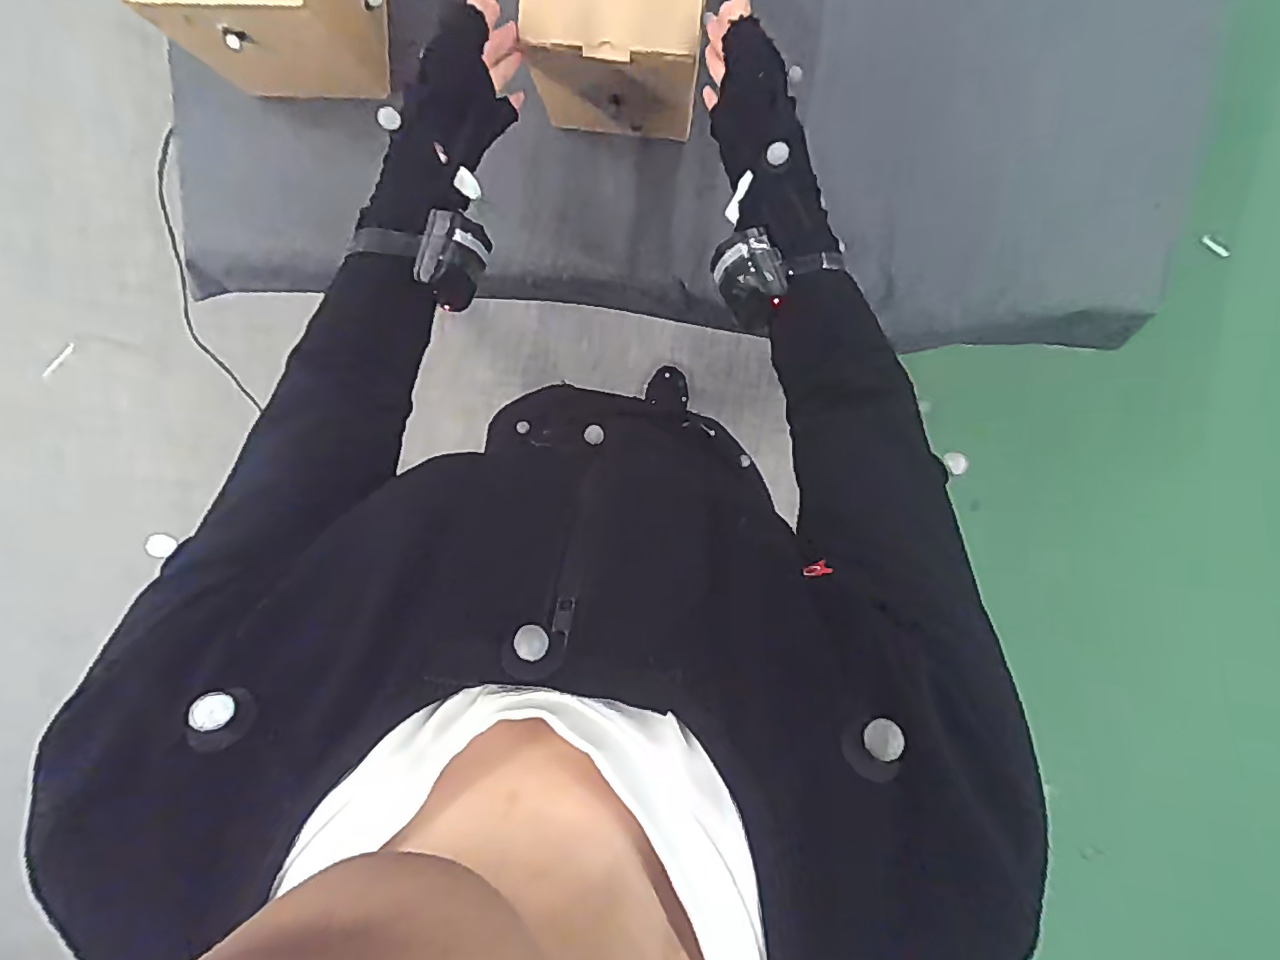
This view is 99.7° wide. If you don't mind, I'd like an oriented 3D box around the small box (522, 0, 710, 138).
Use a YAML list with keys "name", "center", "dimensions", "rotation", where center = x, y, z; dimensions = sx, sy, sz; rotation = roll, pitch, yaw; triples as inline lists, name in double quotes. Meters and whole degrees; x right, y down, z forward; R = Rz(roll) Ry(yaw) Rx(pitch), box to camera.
- name: "small box"
  center: [-0.014, -0.484, 0.557]
  dimensions: [0.168, 0.176, 0.179]
  rotation: [7, 101, 2]

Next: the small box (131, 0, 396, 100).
- name: "small box"
  center: [-0.382, -0.530, 0.567]
  dimensions: [0.179, 0.176, 0.168]
  rotation: [3, 100, 1]
